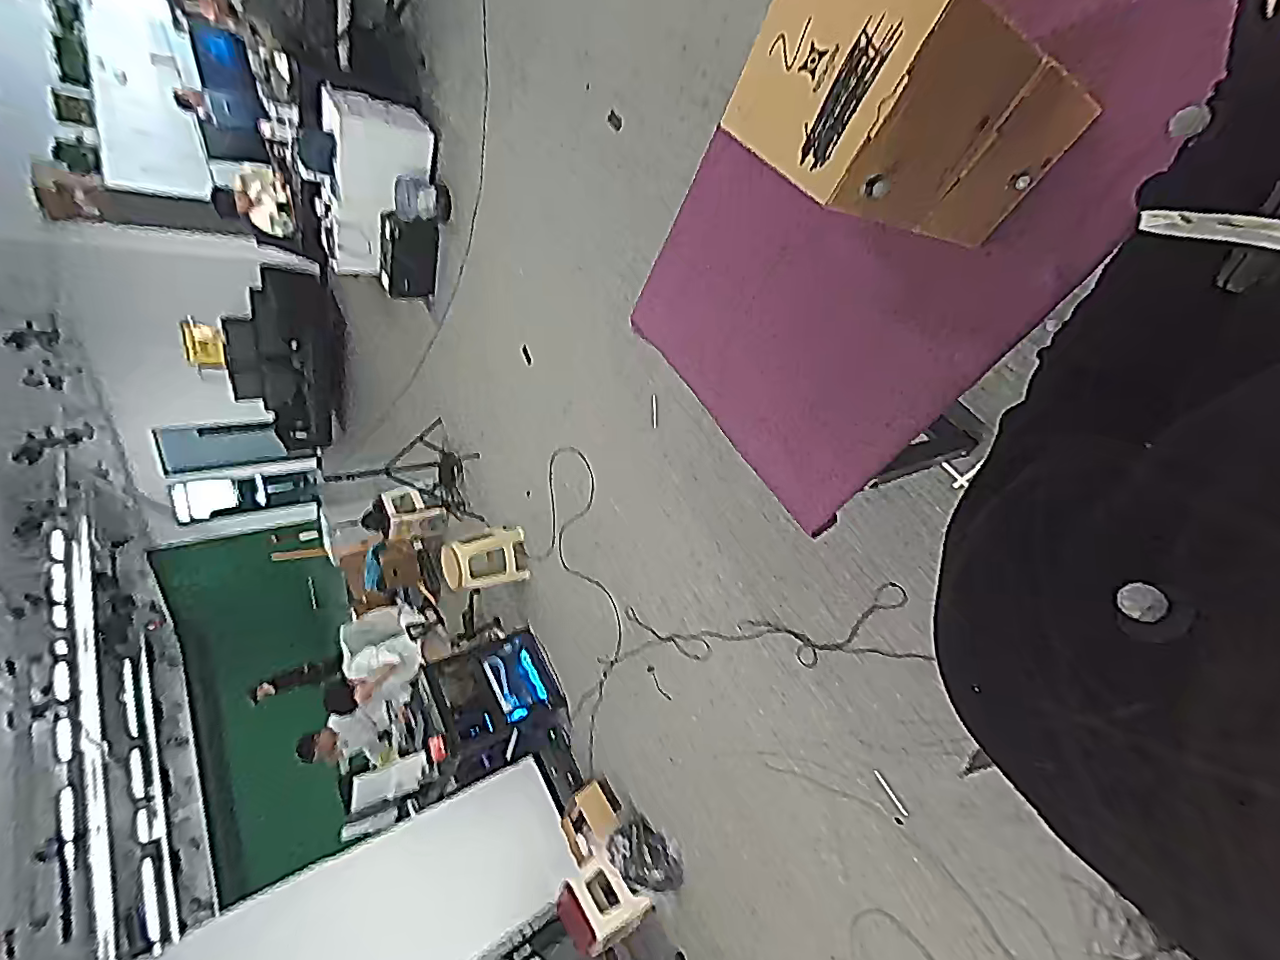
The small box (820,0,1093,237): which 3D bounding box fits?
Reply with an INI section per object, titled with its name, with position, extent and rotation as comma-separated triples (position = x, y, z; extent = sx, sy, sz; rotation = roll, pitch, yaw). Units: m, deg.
[small box]
position = 0.353, -0.400, 0.615
extent = 0.179, 0.176, 0.168
rotation = 58, 139, 25
